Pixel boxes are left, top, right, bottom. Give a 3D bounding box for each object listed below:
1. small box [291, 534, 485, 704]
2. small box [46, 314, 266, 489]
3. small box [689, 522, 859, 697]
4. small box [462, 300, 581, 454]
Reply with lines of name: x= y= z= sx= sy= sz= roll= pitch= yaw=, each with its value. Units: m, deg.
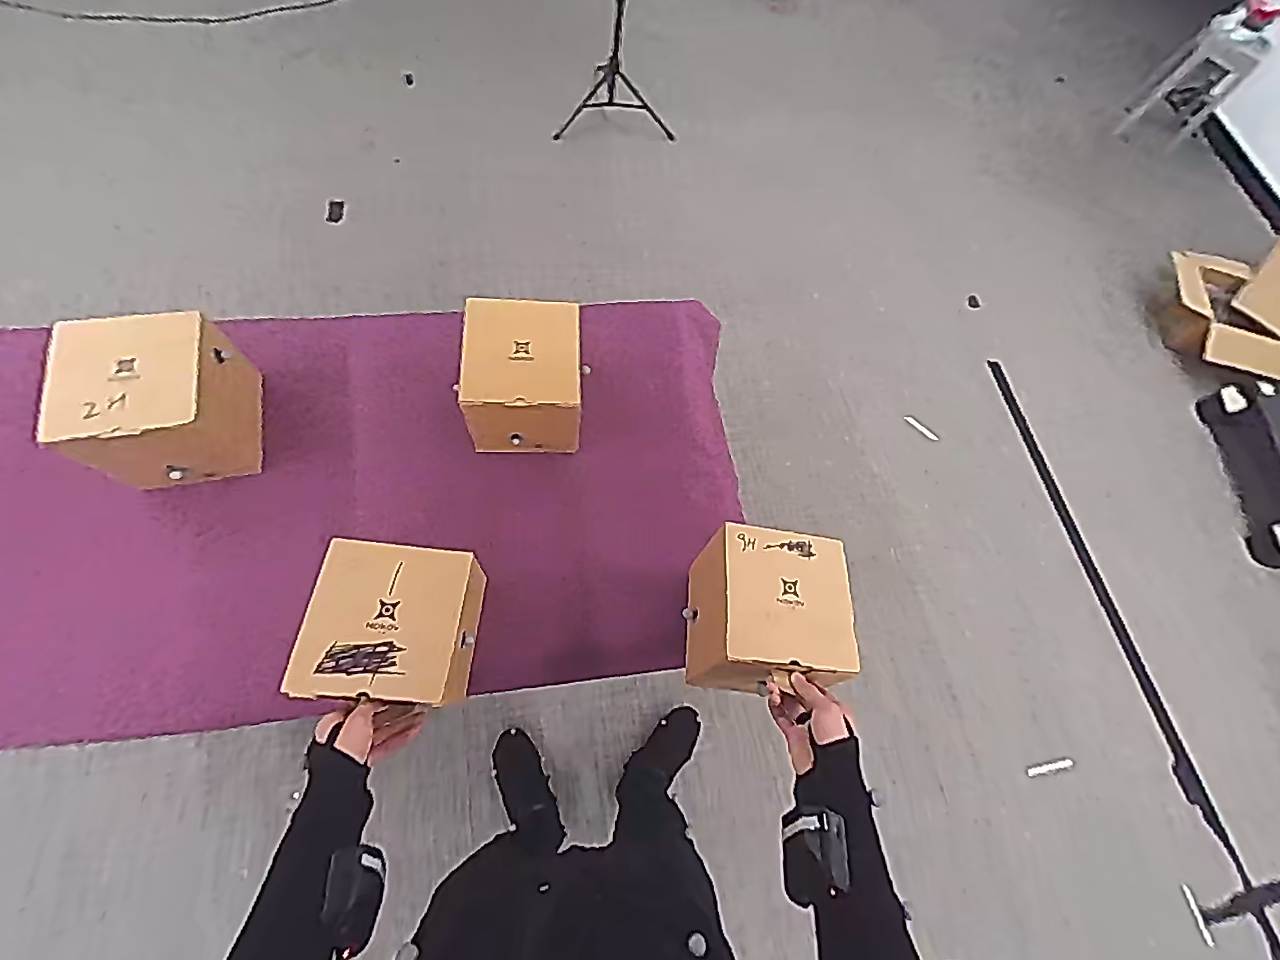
small box: x=-0.300 y=0.184 z=0.691 sx=0.168 sy=0.176 sz=0.179 roll=8 pitch=67 yaw=-7
small box: x=-0.656 y=-0.106 z=0.760 sx=0.168 sy=0.176 sz=0.179 roll=-9 pitch=70 yaw=-12
small box: x=0.167 y=0.182 z=0.725 sx=0.168 sy=0.176 sz=0.179 roll=11 pitch=58 yaw=-7
small box: x=-0.179 y=-0.156 z=0.855 sx=0.168 sy=0.176 sz=0.179 roll=0 pitch=70 yaw=-8
